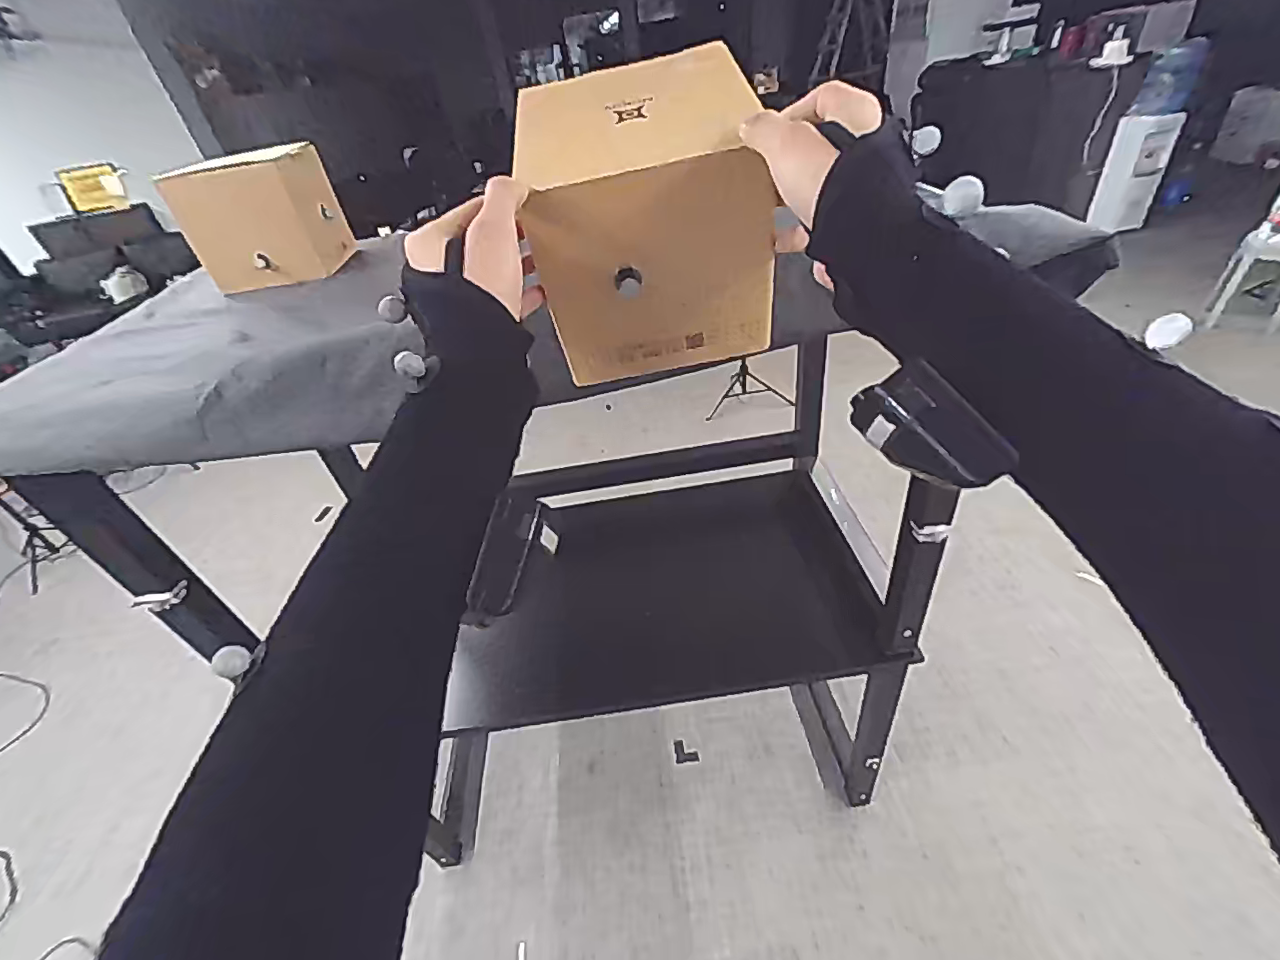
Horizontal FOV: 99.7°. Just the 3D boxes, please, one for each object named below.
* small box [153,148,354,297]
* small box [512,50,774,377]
[{"bbox_3d":[-0.592,-0.410,0.862,0.179,0.176,0.168,-10,38,-2],"label":"small box"},{"bbox_3d":[0.006,-0.201,0.436,0.168,0.176,0.179,-11,53,3],"label":"small box"}]
